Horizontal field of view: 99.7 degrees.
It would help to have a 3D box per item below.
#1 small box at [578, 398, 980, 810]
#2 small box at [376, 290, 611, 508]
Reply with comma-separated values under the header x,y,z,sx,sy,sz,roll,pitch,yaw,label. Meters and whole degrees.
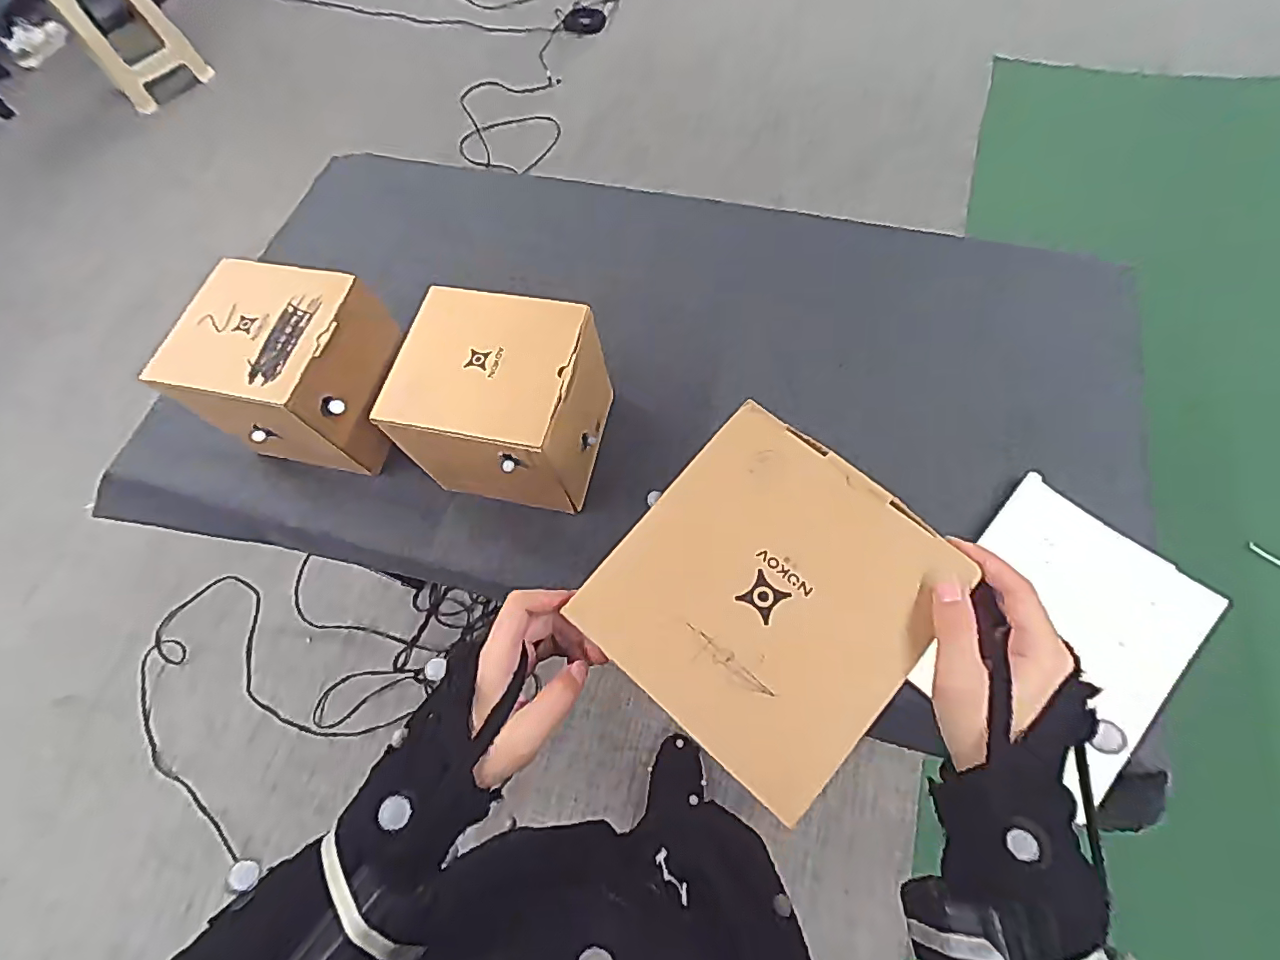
x,y,z,sx,sy,sz,roll,pitch,yaw,label
0.085,0.080,0.387,0.168,0.176,0.179,39,83,16,small box
-0.142,-0.081,0.598,0.179,0.176,0.168,10,67,9,small box
